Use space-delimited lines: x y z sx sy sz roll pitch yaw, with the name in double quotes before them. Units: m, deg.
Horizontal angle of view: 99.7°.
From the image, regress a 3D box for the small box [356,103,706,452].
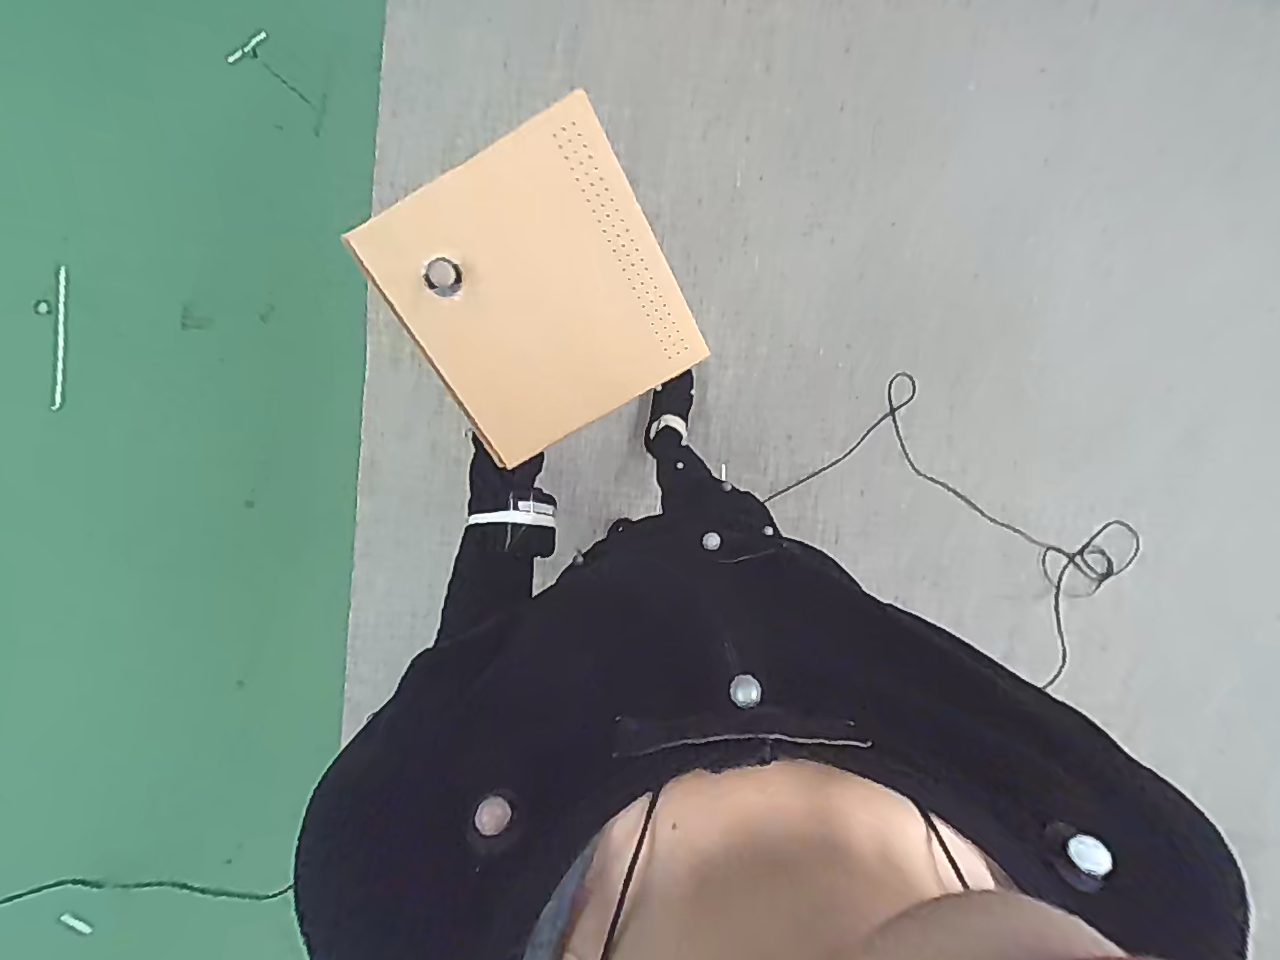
"small box" -0.071 -0.157 0.423 0.176 0.168 0.179 -28 114 5
